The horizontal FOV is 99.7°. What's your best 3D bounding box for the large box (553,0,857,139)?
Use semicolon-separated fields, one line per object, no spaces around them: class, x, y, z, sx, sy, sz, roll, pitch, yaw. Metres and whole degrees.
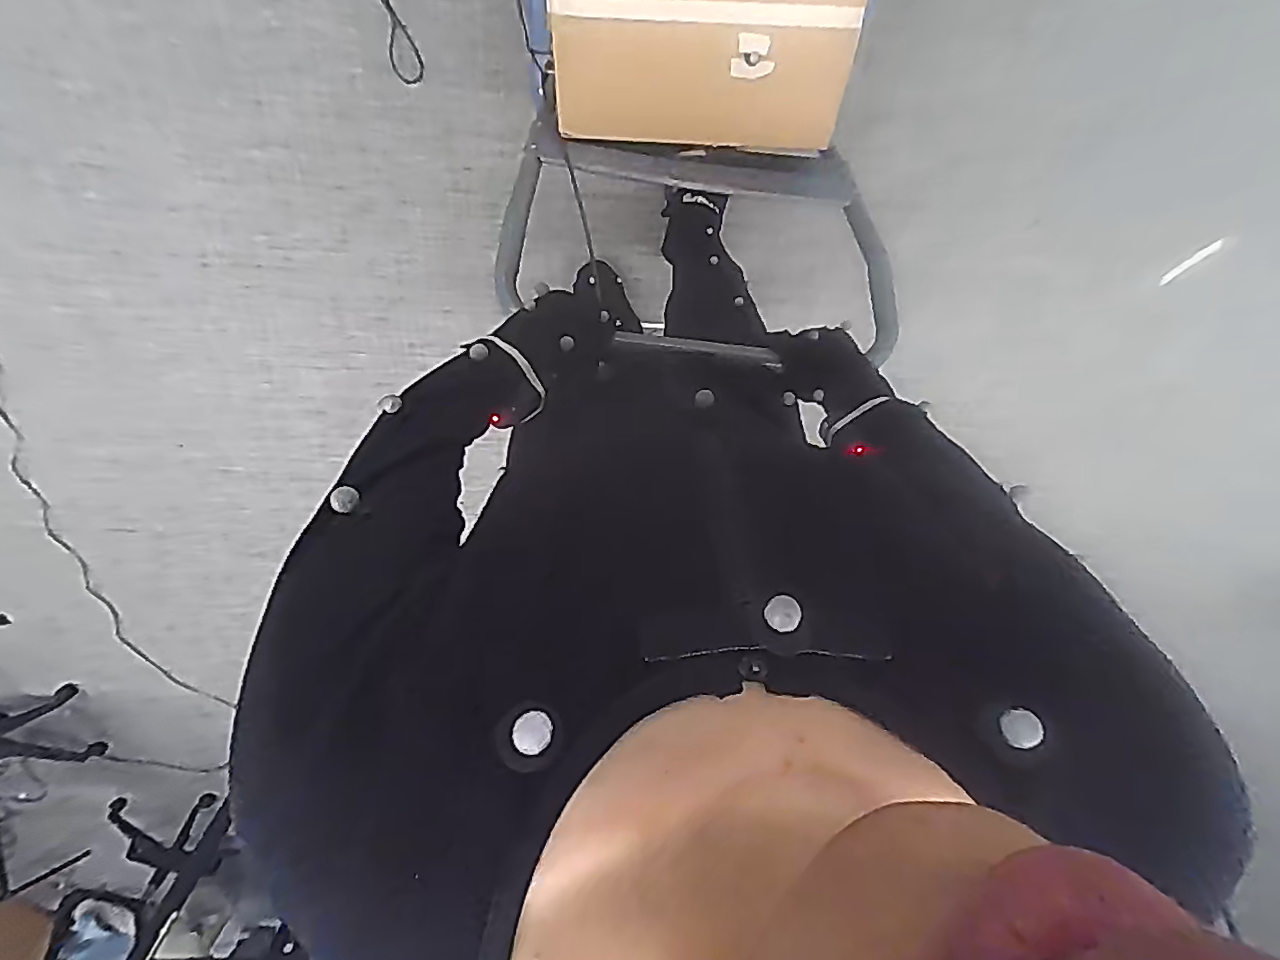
large box;0.081;-0.734;0.799;0.408;0.320;0.320;1;141;-2
